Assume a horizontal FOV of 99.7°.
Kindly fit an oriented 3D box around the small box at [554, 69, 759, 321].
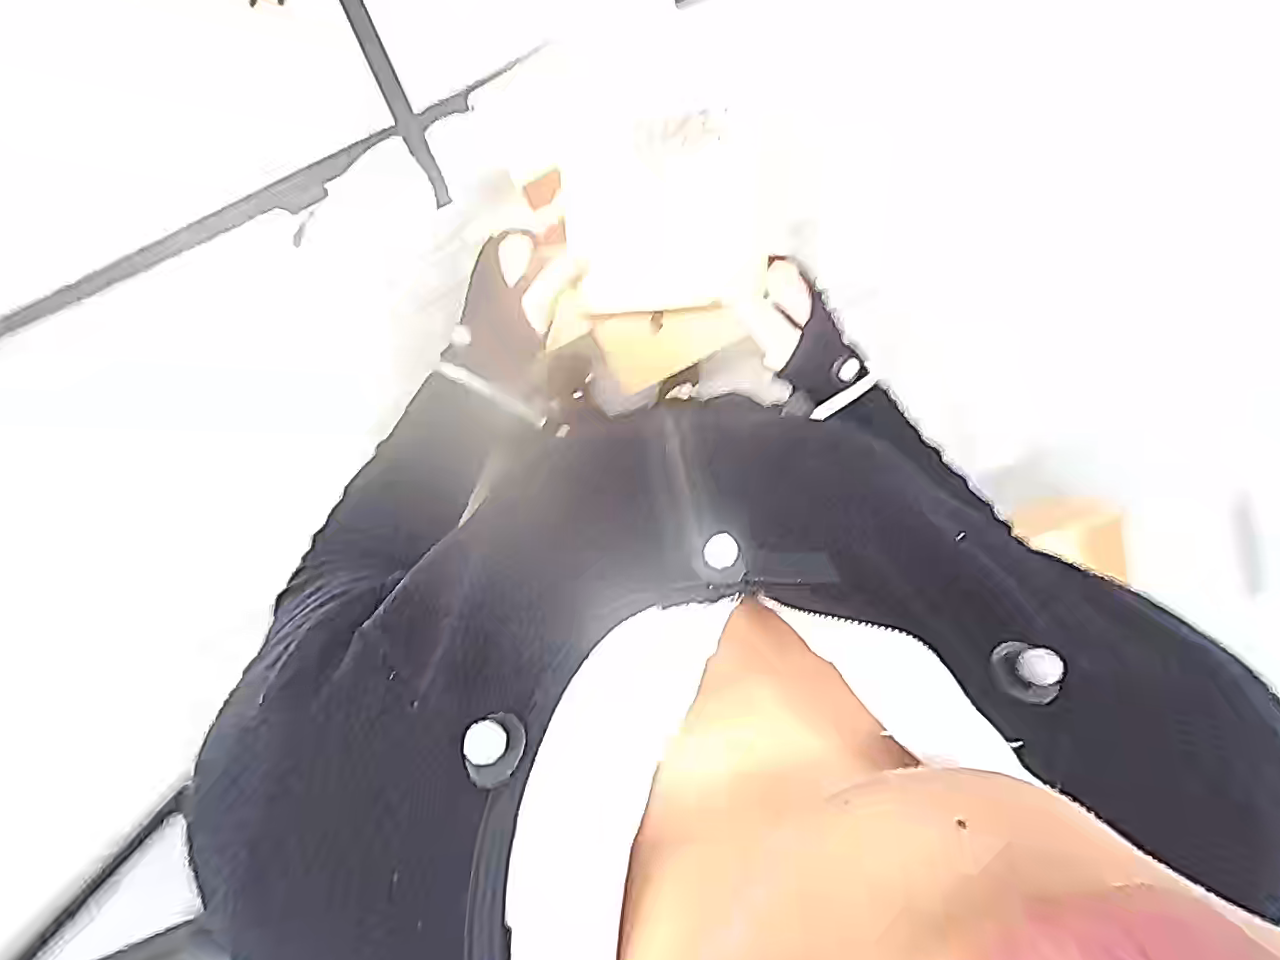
[{"bbox_3d":[0.013,-0.253,0.521,0.168,0.176,0.179,-4,104,-1],"label":"small box"}]
